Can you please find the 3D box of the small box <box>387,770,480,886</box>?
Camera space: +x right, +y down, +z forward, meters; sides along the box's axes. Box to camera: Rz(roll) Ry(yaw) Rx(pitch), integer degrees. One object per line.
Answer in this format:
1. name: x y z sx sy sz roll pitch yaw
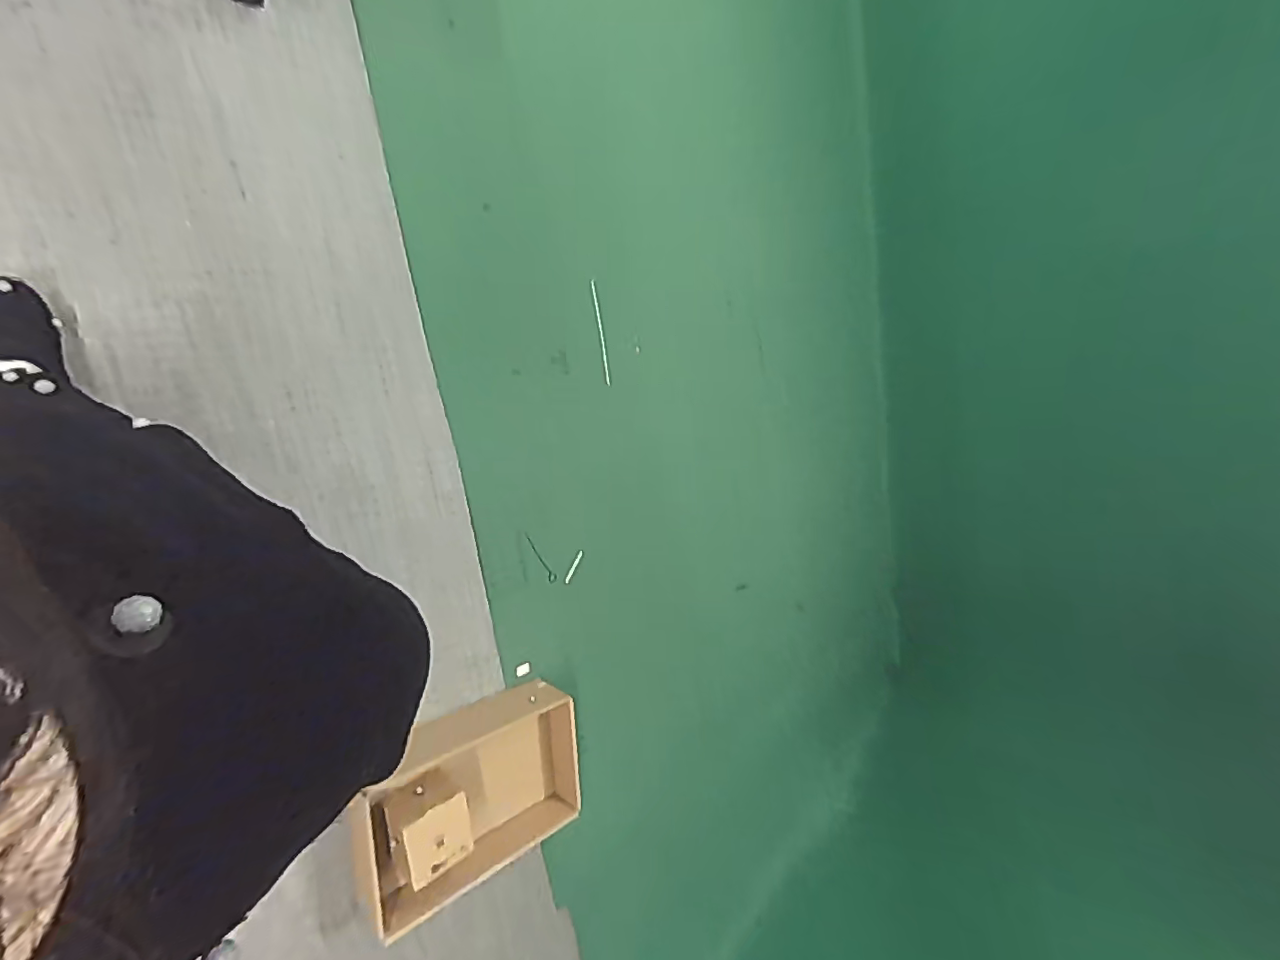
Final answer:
1. small box: -0.548 0.902 1.429 0.168 0.176 0.179 -14 100 -42
